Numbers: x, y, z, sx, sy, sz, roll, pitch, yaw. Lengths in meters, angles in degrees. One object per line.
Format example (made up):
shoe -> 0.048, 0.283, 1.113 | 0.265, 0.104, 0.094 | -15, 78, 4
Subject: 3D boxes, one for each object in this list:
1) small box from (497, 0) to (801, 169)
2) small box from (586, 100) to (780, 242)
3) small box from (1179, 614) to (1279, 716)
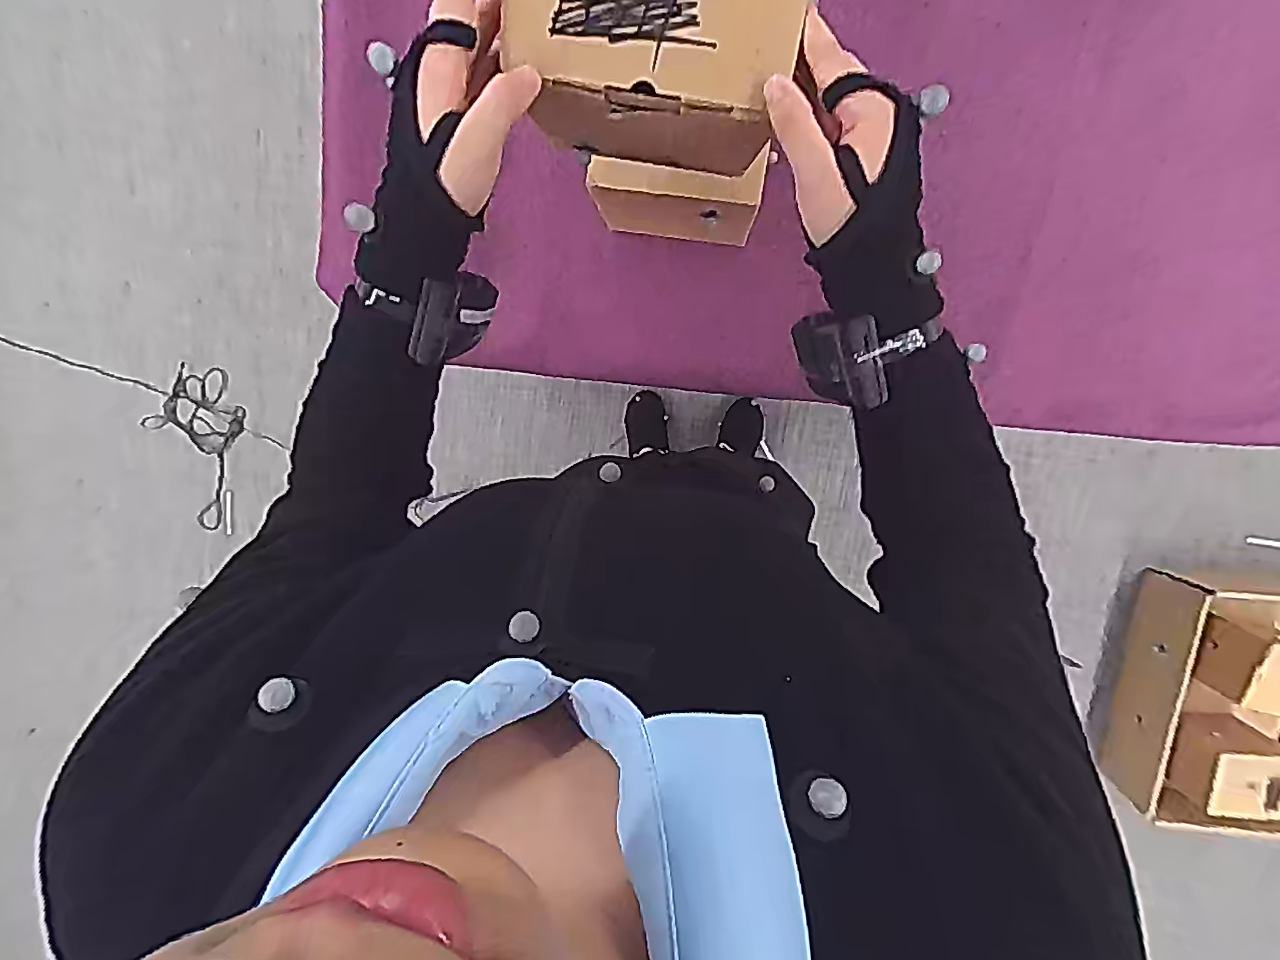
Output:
small box -> 0.015, -0.324, 0.353 | 0.168, 0.176, 0.179 | 8, 108, -1
small box -> 0.050, -0.371, 0.591 | 0.179, 0.176, 0.168 | 9, 101, 4
small box -> 1.475, 0.442, 1.291 | 0.179, 0.176, 0.168 | 14, 103, 3
